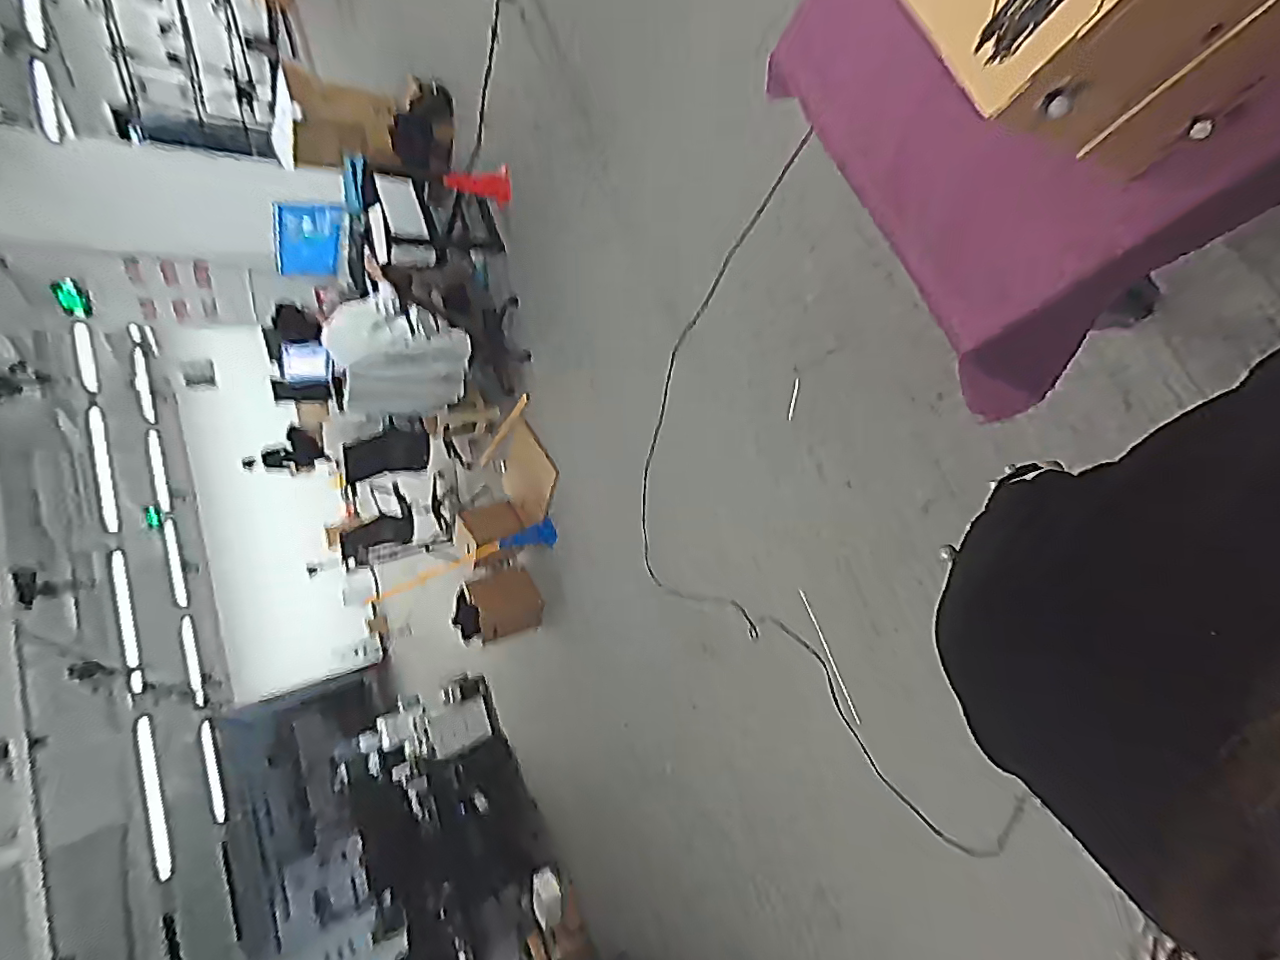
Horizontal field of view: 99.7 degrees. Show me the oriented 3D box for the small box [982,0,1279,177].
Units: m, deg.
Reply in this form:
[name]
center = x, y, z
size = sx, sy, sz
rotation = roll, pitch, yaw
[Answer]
[small box]
center = 0.473, -0.417, 0.505
size = 0.168, 0.176, 0.179
rotation = -40, 68, 52
